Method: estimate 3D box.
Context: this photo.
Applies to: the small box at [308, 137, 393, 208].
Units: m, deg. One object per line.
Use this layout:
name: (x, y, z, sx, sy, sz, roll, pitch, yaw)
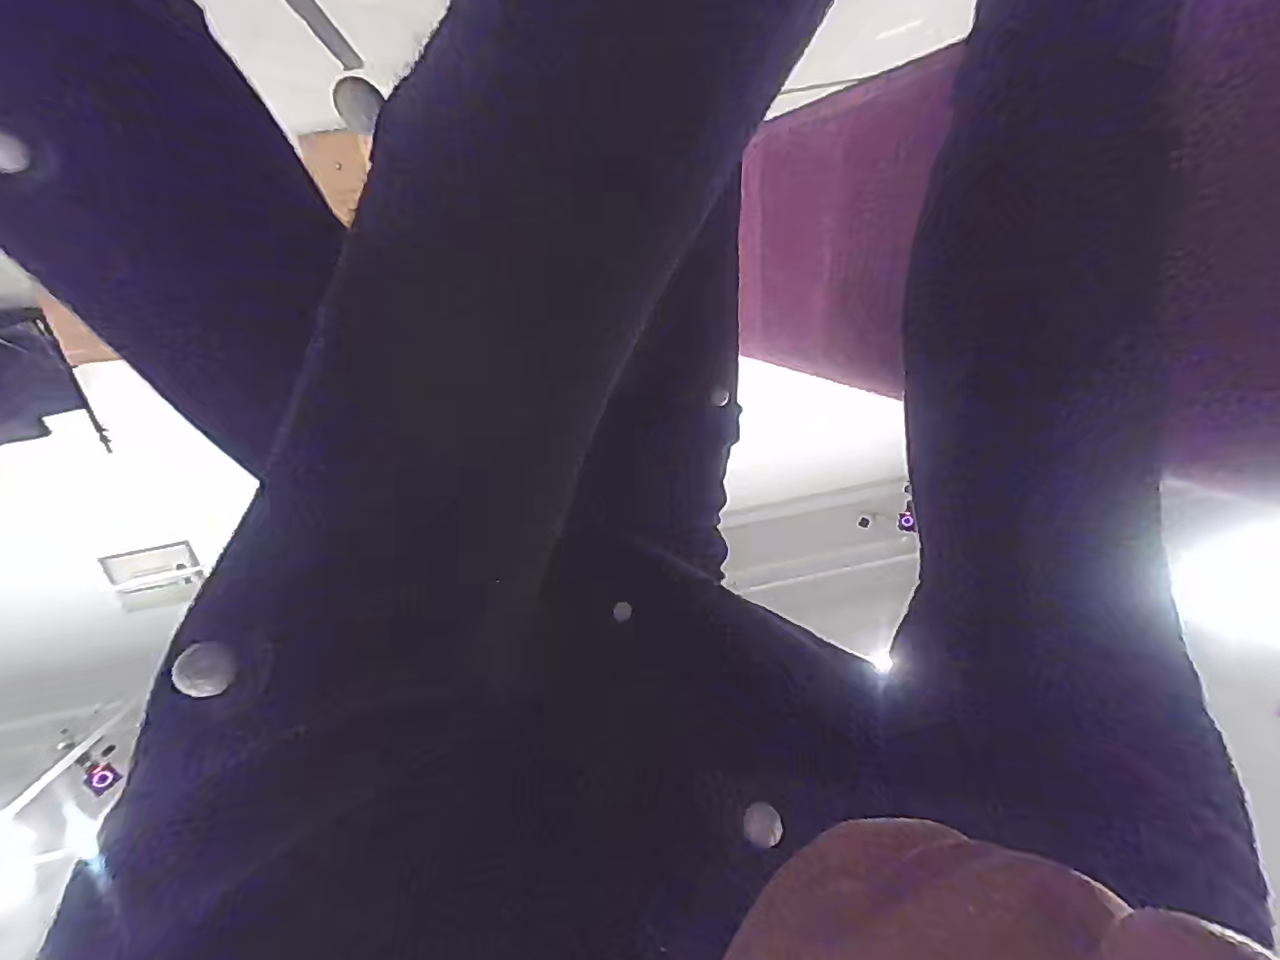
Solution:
small box: (-0.923, -0.965, 1.722, 0.179, 0.176, 0.168, -11, -162, -2)
